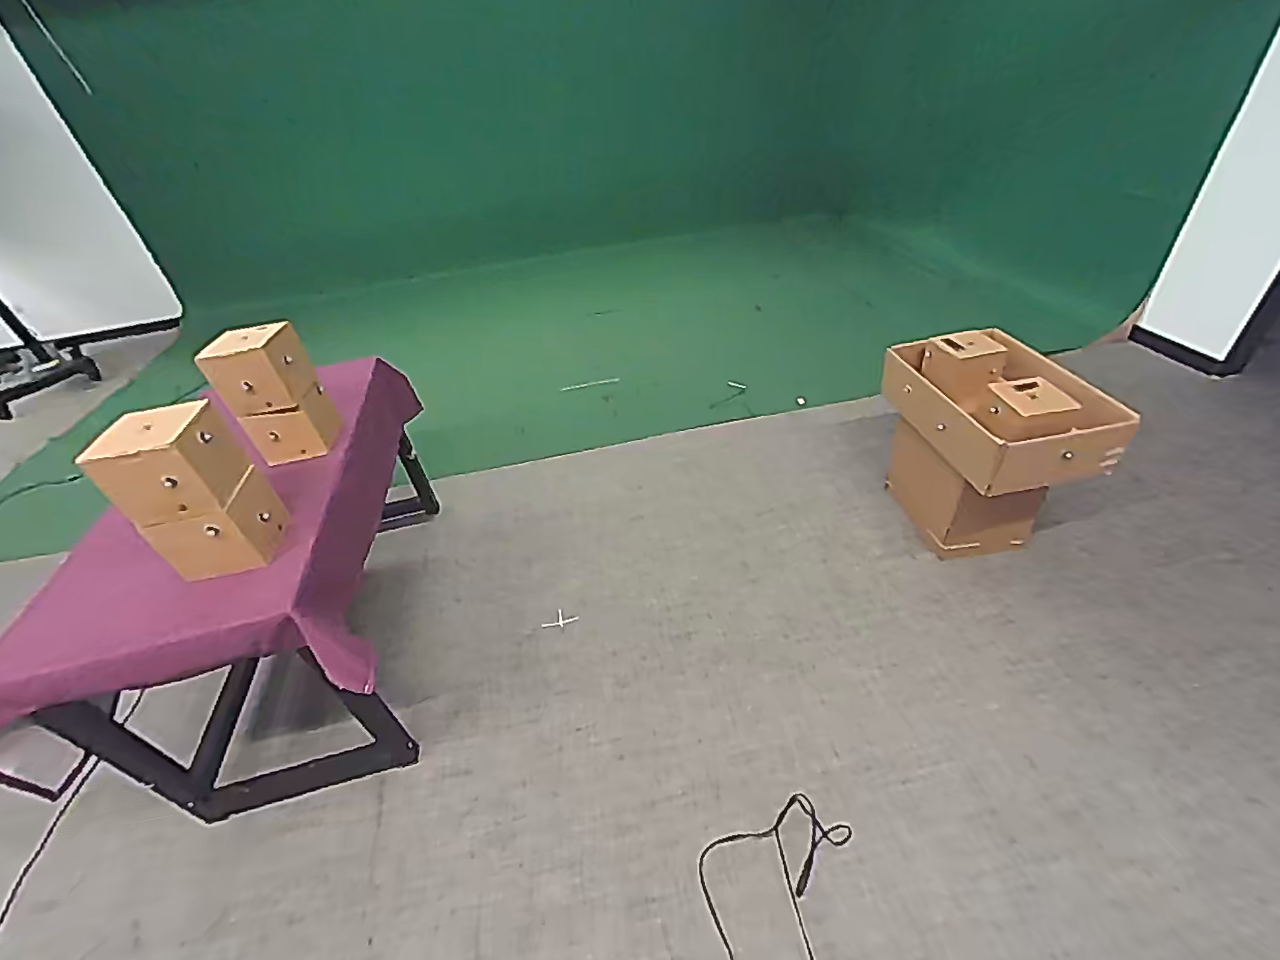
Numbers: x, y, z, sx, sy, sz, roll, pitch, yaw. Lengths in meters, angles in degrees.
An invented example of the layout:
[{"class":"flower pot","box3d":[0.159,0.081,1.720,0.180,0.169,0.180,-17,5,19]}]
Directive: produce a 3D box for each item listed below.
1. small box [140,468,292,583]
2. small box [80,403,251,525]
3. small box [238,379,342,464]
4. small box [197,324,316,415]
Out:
[{"class":"small box","box3d":[-0.913,0.102,1.189,0.179,0.176,0.168,-12,38,-4]},{"class":"small box","box3d":[-0.935,-0.027,1.091,0.168,0.176,0.179,-12,39,-5]},{"class":"small box","box3d":[-0.972,-0.160,1.523,0.168,0.176,0.179,-13,39,-5]},{"class":"small box","box3d":[-0.987,-0.283,1.415,0.168,0.176,0.179,-10,39,-1]}]
